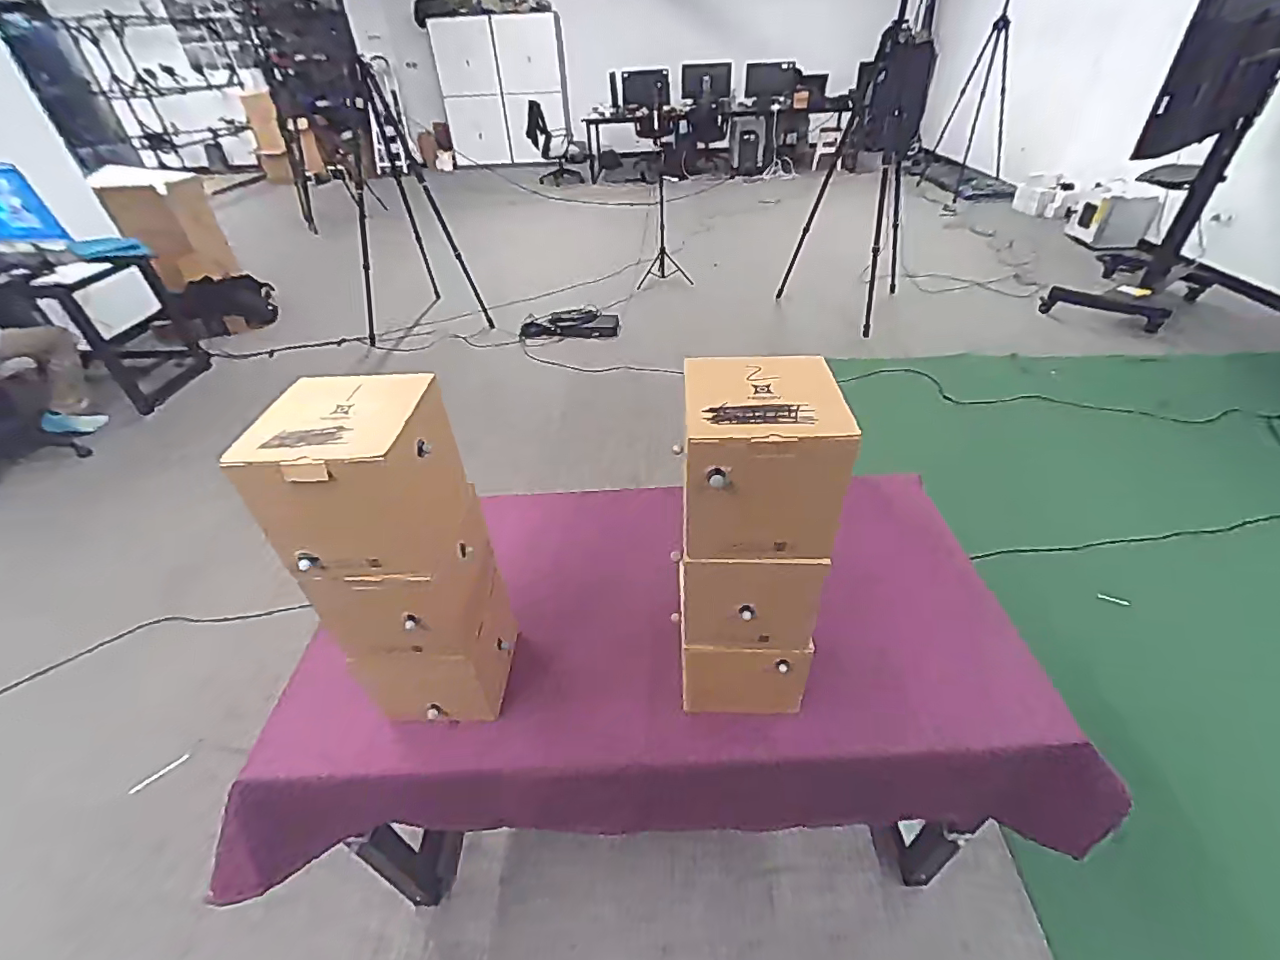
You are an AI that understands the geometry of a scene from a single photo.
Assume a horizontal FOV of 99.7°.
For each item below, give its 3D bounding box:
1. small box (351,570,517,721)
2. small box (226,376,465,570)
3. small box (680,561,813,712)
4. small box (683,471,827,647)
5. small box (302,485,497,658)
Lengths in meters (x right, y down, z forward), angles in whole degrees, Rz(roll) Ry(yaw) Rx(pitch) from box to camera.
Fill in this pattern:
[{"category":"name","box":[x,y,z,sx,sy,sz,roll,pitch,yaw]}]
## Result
[{"category":"small box","box":[-0.301,0.255,0.839,0.179,0.176,0.168,-1,38,2]},{"category":"small box","box":[-0.323,-0.006,0.642,0.168,0.176,0.179,-2,38,1]},{"category":"small box","box":[0.151,0.237,0.825,0.179,0.176,0.168,-1,39,4]},{"category":"small box","box":[0.142,0.105,0.727,0.168,0.176,0.179,1,39,5]},{"category":"small box","box":[-0.308,0.125,0.741,0.168,0.176,0.179,0,38,4]}]
